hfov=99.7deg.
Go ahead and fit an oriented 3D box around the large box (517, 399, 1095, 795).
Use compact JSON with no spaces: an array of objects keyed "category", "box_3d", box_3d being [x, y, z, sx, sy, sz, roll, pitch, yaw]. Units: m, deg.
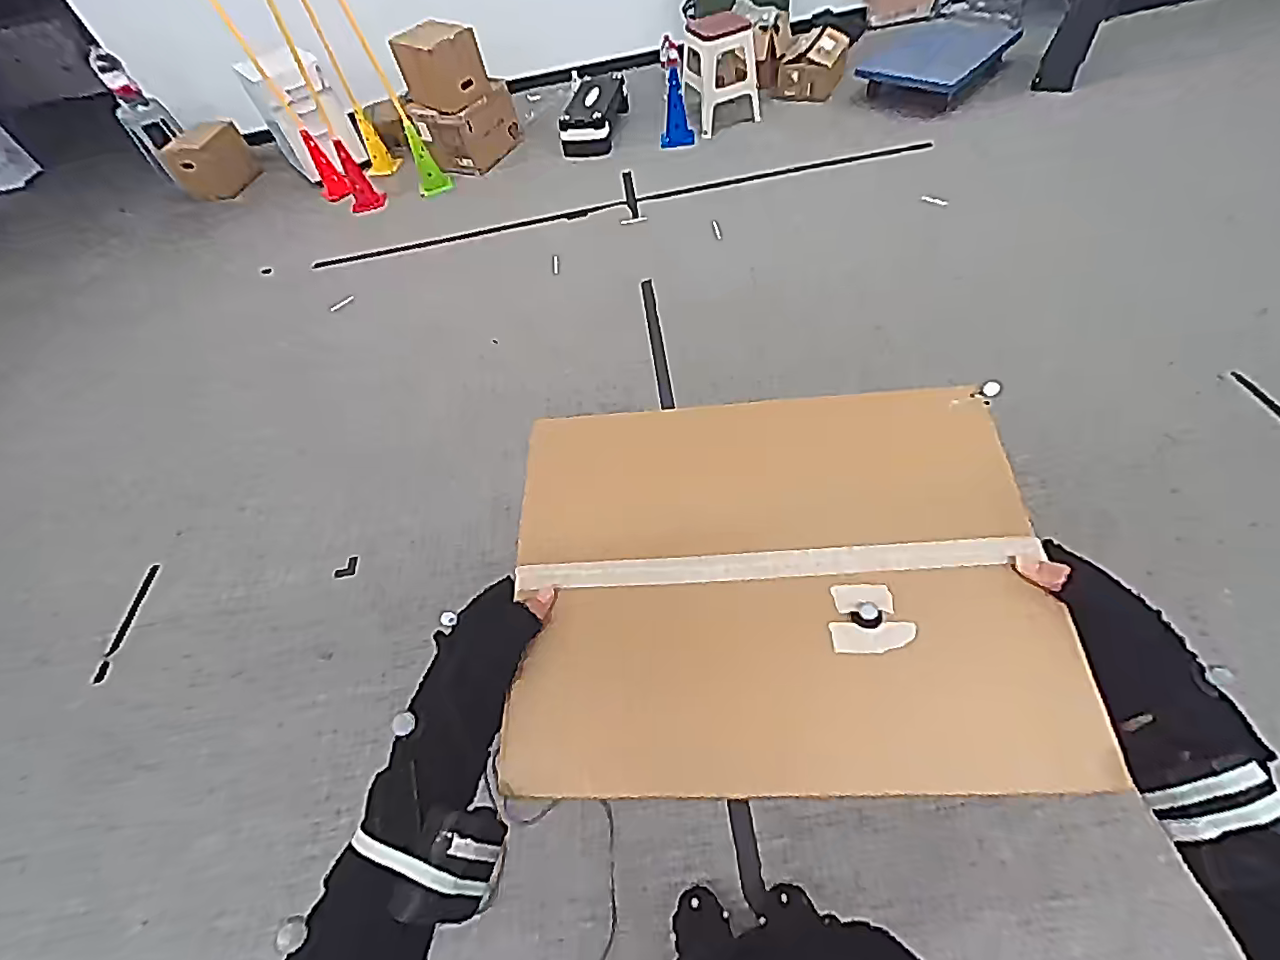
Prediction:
[{"category":"large box","box_3d":[0.118,0.146,0.574,0.408,0.320,0.320,-4,61,6]}]
